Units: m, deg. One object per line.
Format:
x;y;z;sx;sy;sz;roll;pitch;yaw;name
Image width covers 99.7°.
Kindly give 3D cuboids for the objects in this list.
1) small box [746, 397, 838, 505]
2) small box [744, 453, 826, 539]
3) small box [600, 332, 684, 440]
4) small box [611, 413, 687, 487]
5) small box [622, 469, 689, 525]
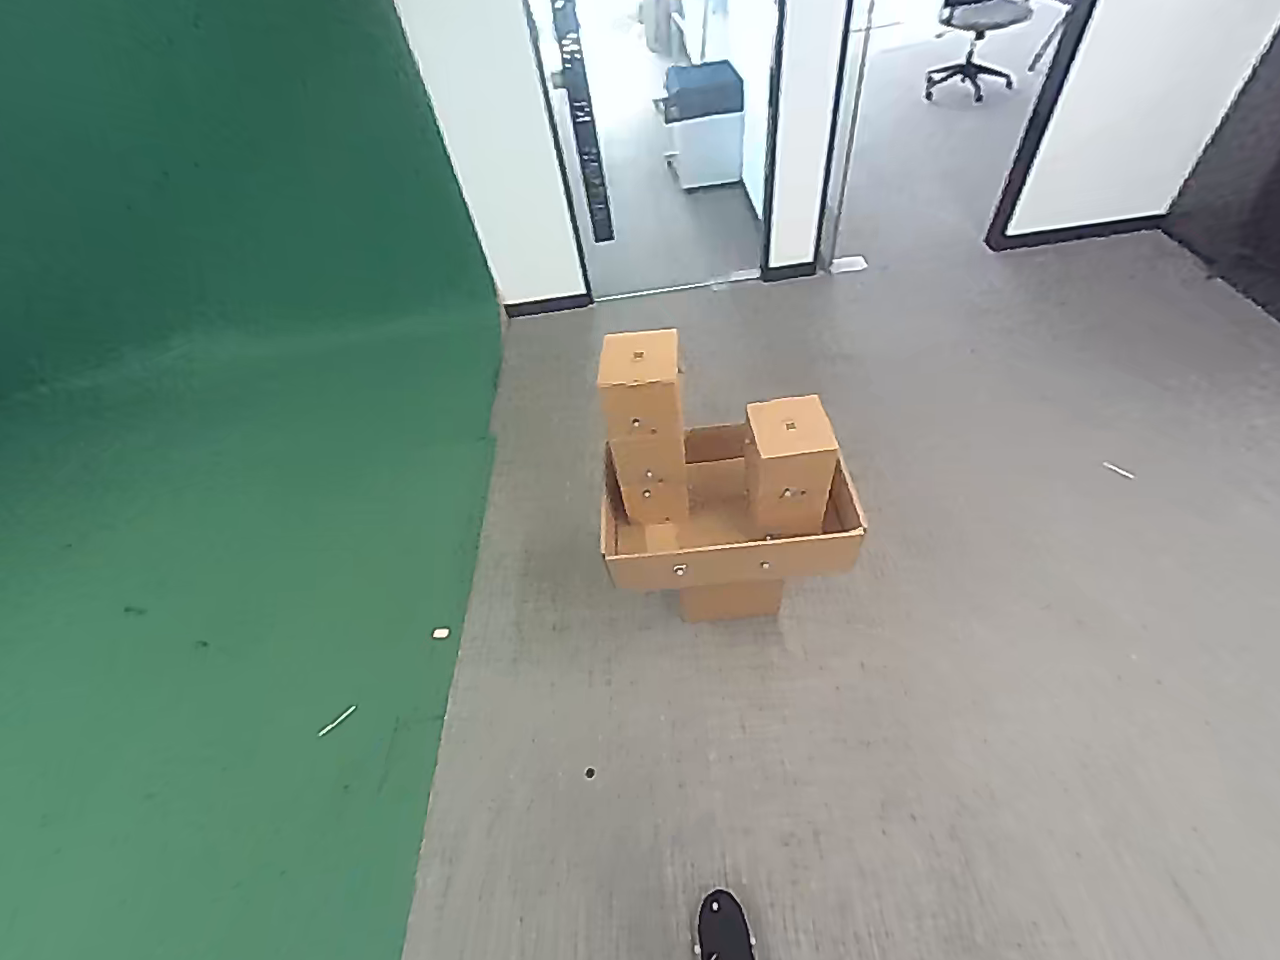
0.341;-0.065;1.250;0.168;0.176;0.179;-7;49;3;small box
0.361;0.039;1.374;0.168;0.176;0.179;-6;49;3;small box
0.011;-0.208;1.209;0.168;0.176;0.179;-2;51;7;small box
0.026;-0.103;1.332;0.168;0.176;0.179;-3;50;7;small box
0.044;0.003;1.456;0.168;0.176;0.179;-4;50;5;small box
